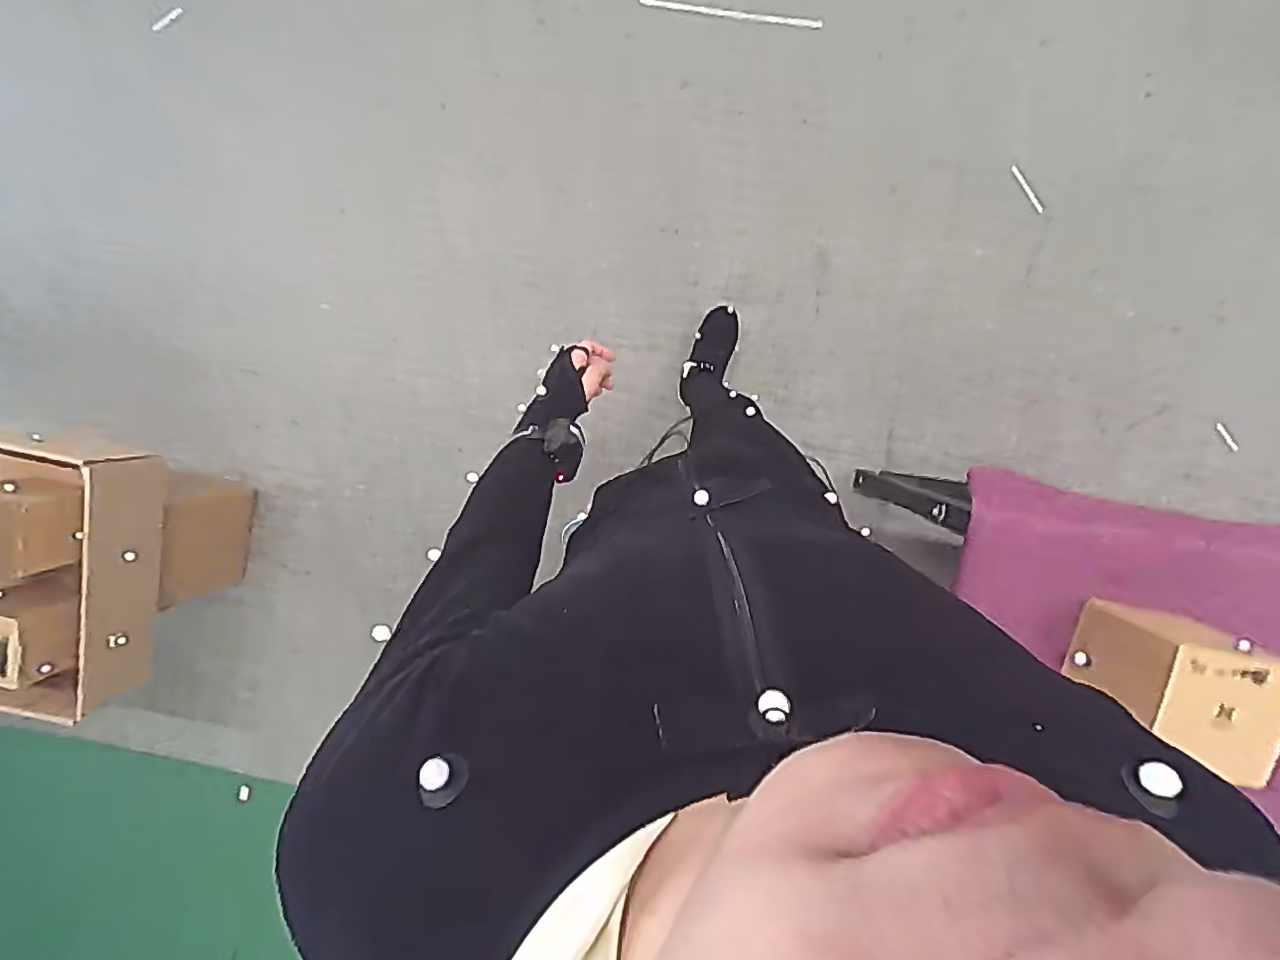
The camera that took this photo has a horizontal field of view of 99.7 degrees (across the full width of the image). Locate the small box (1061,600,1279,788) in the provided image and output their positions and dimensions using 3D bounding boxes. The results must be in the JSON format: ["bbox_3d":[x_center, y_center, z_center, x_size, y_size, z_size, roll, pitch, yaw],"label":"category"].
[{"bbox_3d":[0.766,0.299,0.786,0.168,0.176,0.179,11,100,1],"label":"small box"}]

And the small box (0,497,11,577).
[{"bbox_3d":[-1.374,0.116,1.029,0.168,0.176,0.179,13,97,0],"label":"small box"}]
